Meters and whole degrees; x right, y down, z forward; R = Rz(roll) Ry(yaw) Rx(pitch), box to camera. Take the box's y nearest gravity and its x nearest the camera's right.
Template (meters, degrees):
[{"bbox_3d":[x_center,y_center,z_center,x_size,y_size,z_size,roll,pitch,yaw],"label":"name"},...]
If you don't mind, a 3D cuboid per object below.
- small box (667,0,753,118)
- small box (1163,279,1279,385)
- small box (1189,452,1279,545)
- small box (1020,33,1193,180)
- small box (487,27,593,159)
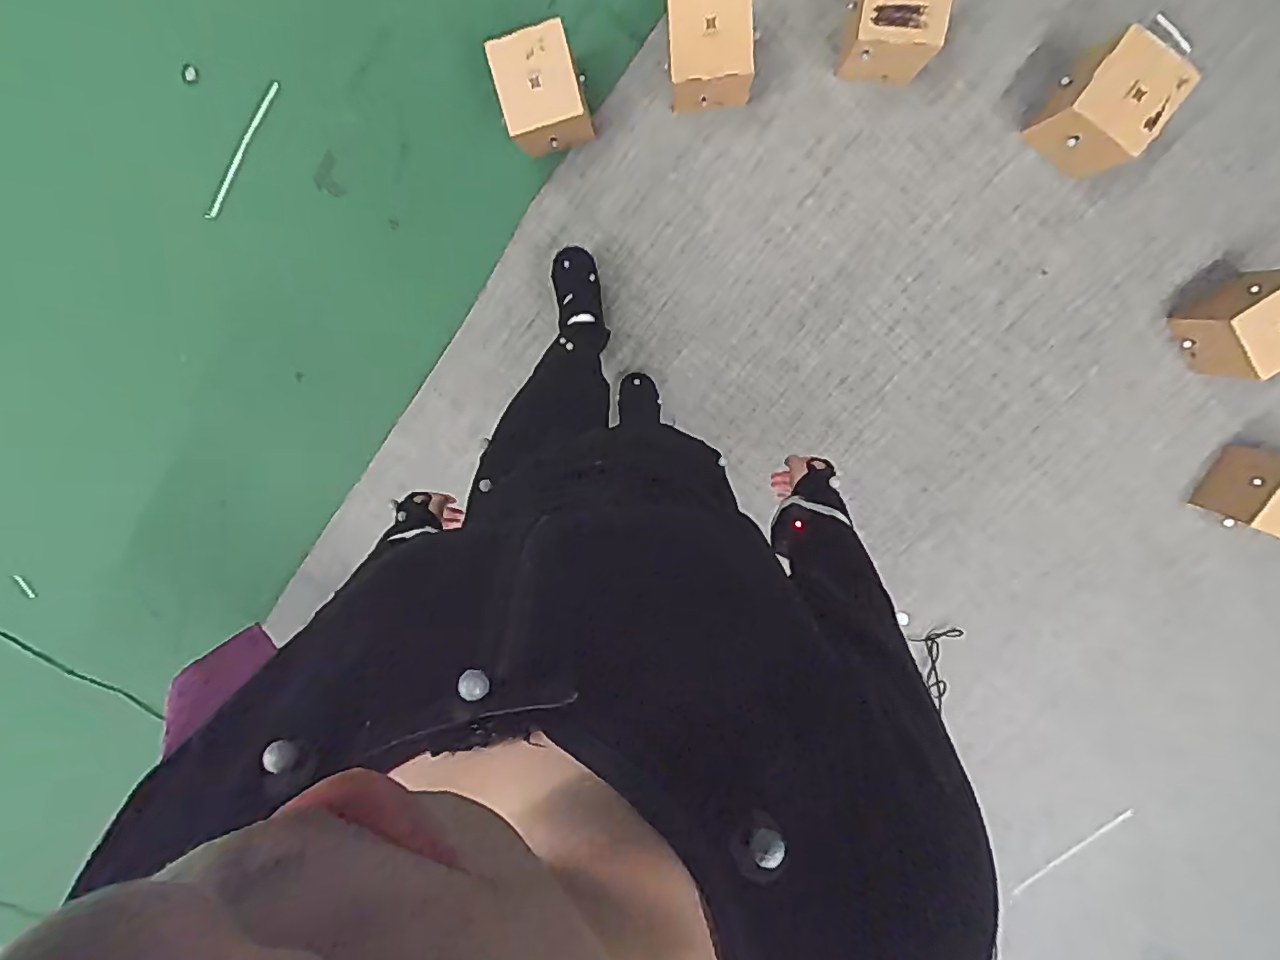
[{"bbox_3d":[0.144,-0.903,1.147,0.168,0.176,0.179,-4,106,5],"label":"small box"},{"bbox_3d":[1.372,-0.341,1.228,0.179,0.176,0.168,-36,100,13],"label":"small box"},{"bbox_3d":[1.536,0.047,1.330,0.168,0.176,0.179,21,107,-2],"label":"small box"},{"bbox_3d":[0.957,-0.763,1.131,0.179,0.176,0.168,32,106,-5],"label":"small box"},{"bbox_3d":[-0.210,-0.832,1.187,0.168,0.176,0.179,-13,104,6],"label":"small box"}]
